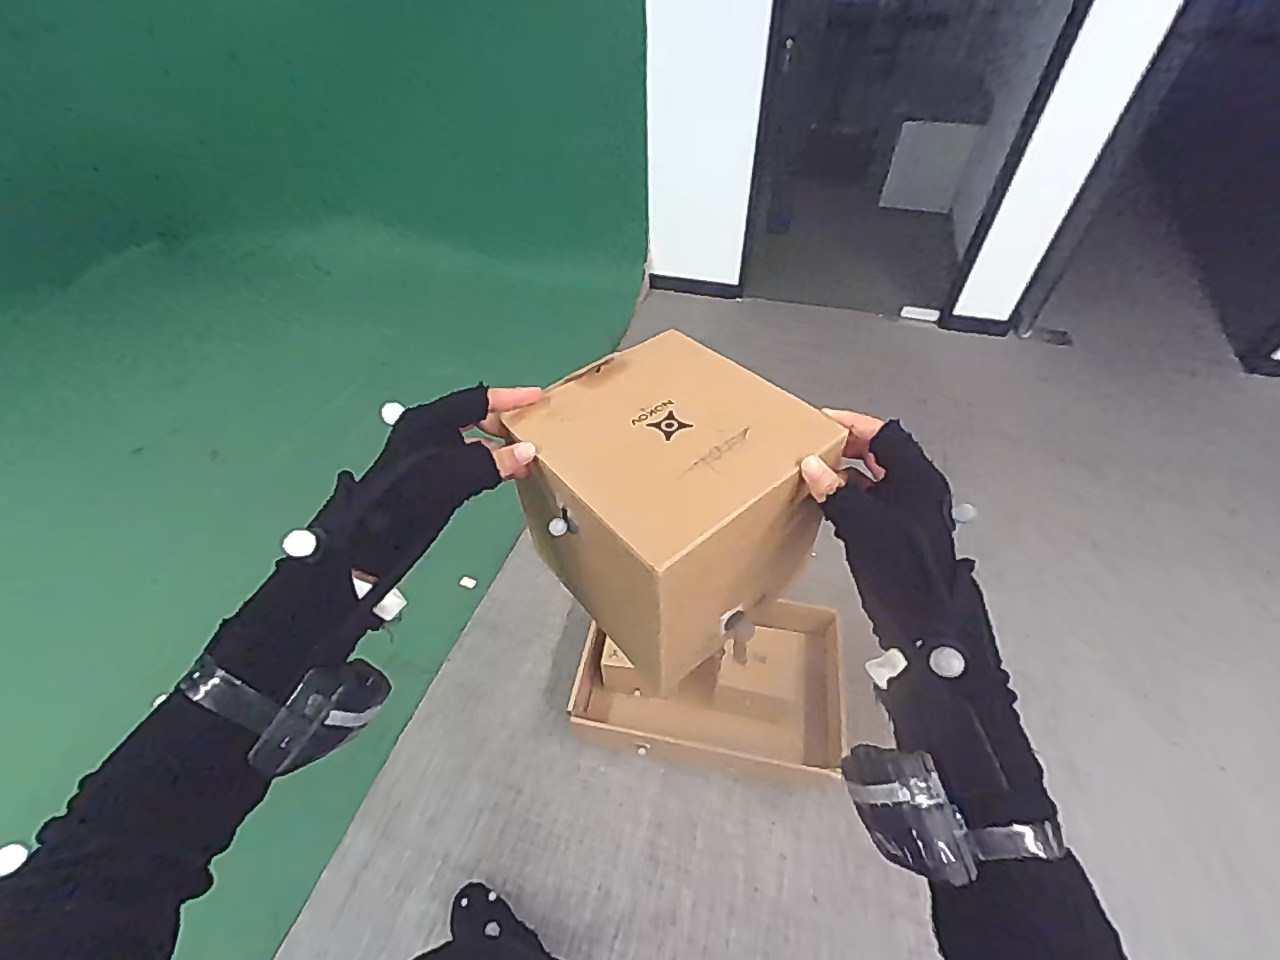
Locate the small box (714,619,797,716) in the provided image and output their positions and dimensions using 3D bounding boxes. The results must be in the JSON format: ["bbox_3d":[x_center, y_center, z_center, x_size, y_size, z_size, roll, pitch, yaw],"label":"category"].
[{"bbox_3d":[0.282,0.463,1.340,0.179,0.176,0.168,9,50,10],"label":"small box"}]

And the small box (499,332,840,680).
[{"bbox_3d":[0.017,0.018,0.422,0.168,0.176,0.179,-32,54,-24],"label":"small box"}]

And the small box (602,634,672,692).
[{"bbox_3d":[0.006,0.425,1.381,0.179,0.176,0.168,7,49,6],"label":"small box"}]
